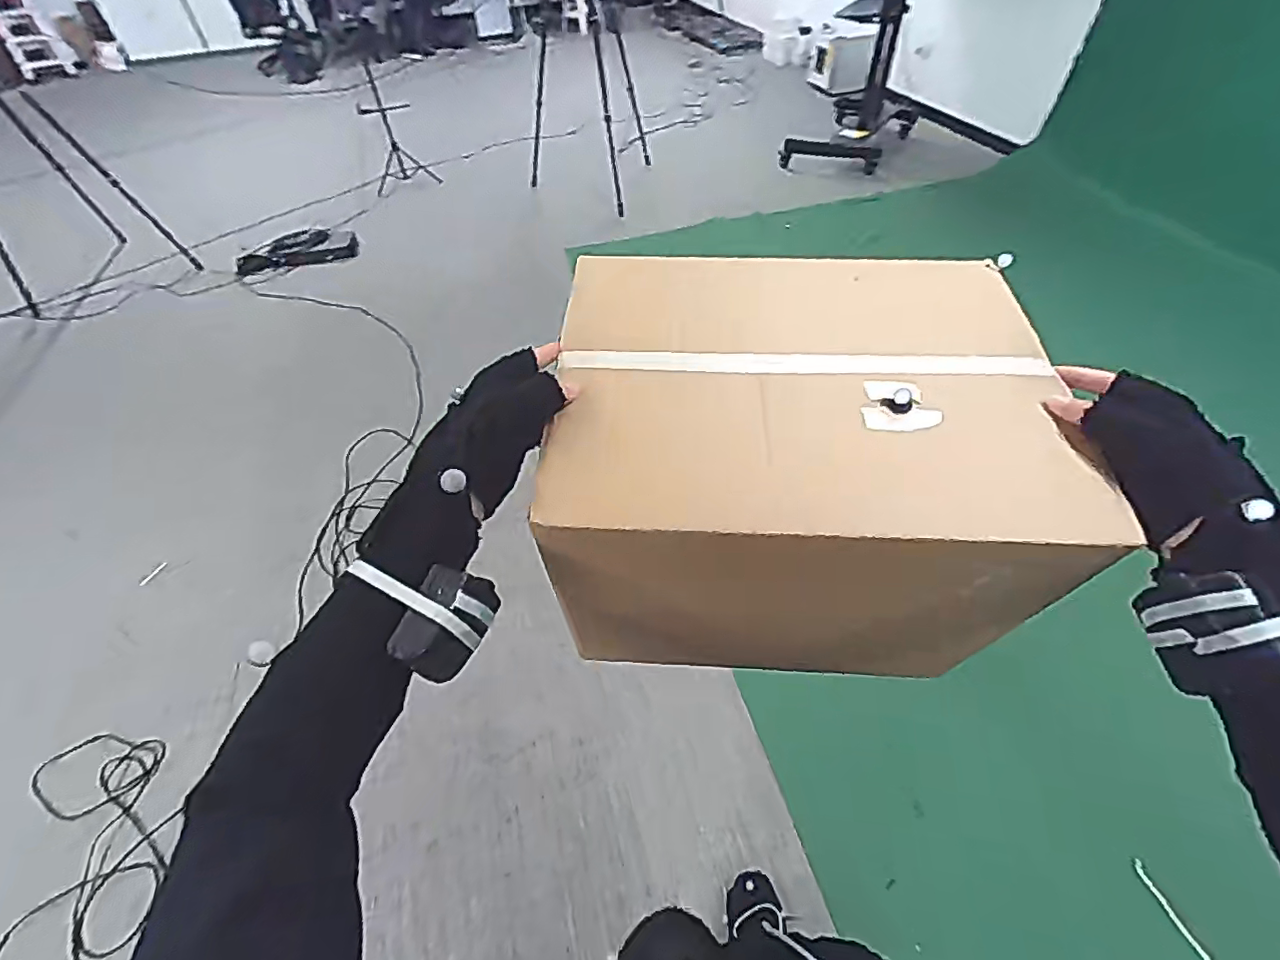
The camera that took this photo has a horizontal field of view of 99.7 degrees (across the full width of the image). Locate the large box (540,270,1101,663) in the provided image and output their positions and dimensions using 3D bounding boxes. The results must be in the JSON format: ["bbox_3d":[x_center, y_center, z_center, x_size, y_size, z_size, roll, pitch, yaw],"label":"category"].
[{"bbox_3d":[0.129,-0.003,0.586,0.408,0.320,0.320,2,55,2],"label":"large box"}]
